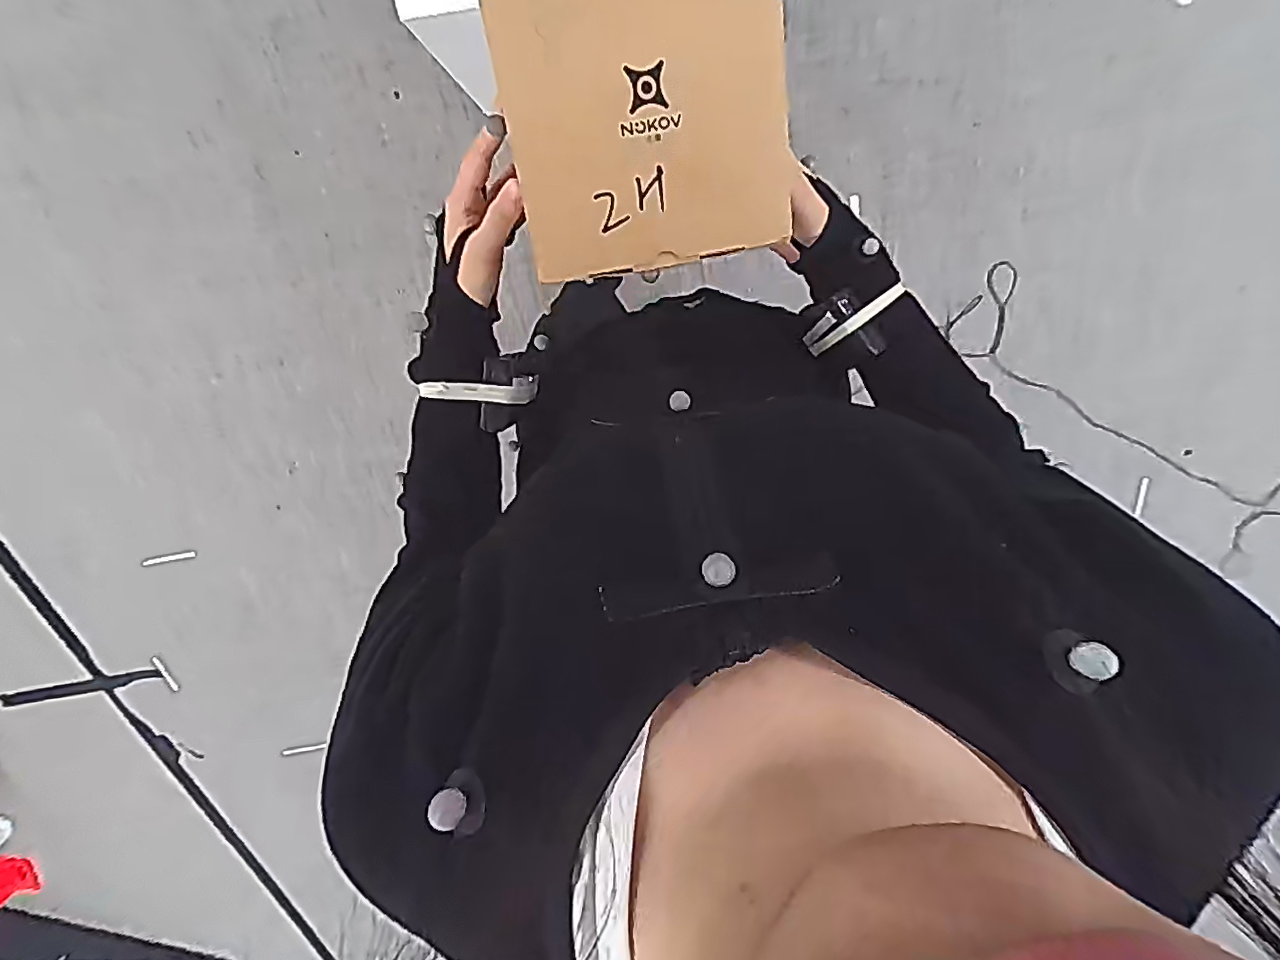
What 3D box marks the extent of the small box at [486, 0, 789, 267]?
[{"bbox_3d":[-0.004,-0.256,0.384,0.168,0.176,0.179,-10,114,-1],"label":"small box"}]
